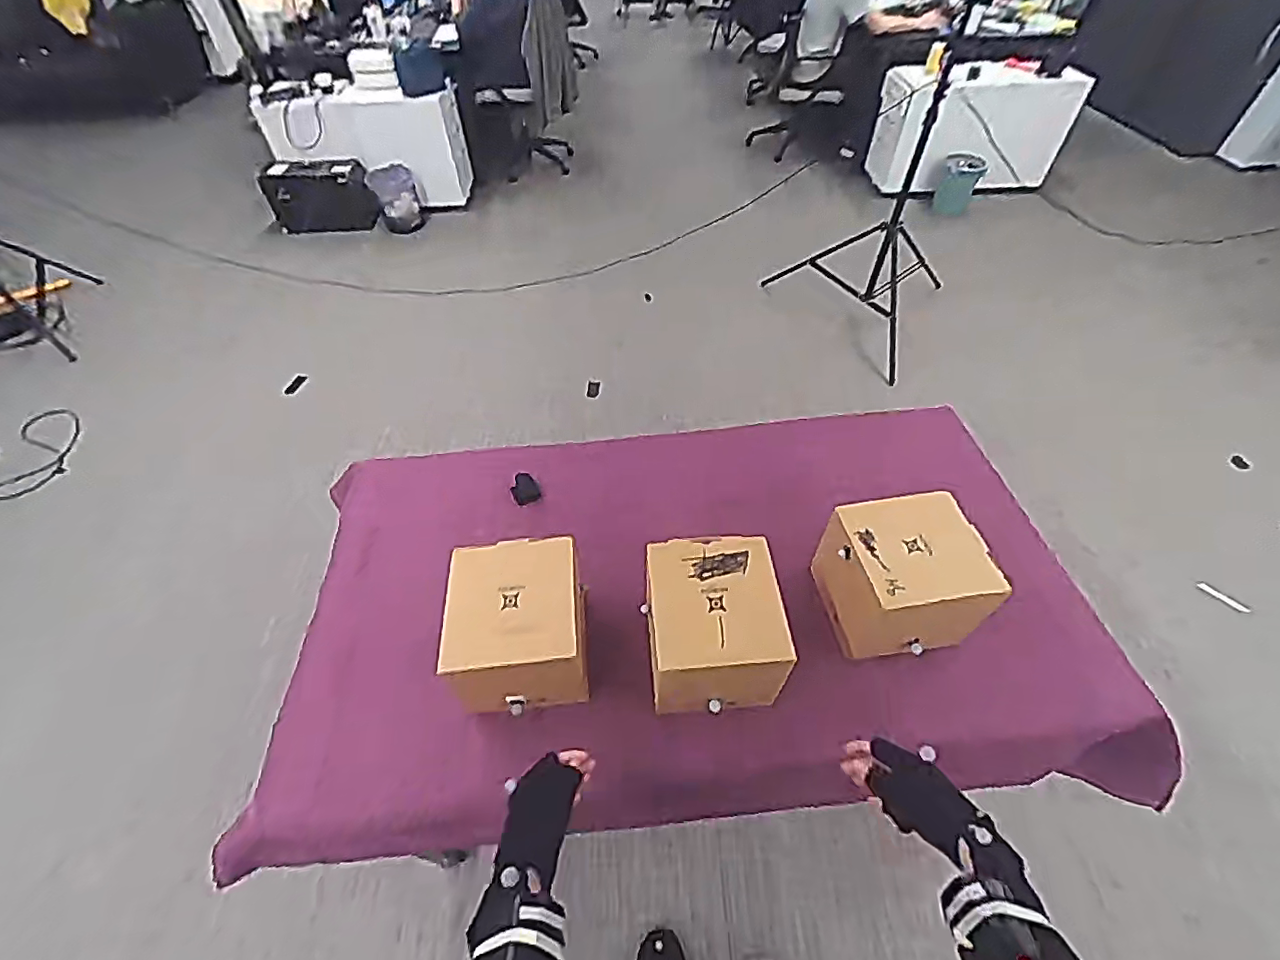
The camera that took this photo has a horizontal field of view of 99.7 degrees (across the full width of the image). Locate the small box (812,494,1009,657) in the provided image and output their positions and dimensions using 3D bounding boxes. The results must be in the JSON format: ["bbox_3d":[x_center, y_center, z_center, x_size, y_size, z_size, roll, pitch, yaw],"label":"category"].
[{"bbox_3d":[0.377,0.142,0.793,0.179,0.176,0.168,-7,50,-5],"label":"small box"}]

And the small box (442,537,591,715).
[{"bbox_3d":[-0.160,0.204,0.752,0.168,0.176,0.179,-7,51,-3],"label":"small box"}]

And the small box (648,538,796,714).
[{"bbox_3d":[0.098,0.202,0.747,0.168,0.176,0.179,-4,50,-2],"label":"small box"}]
